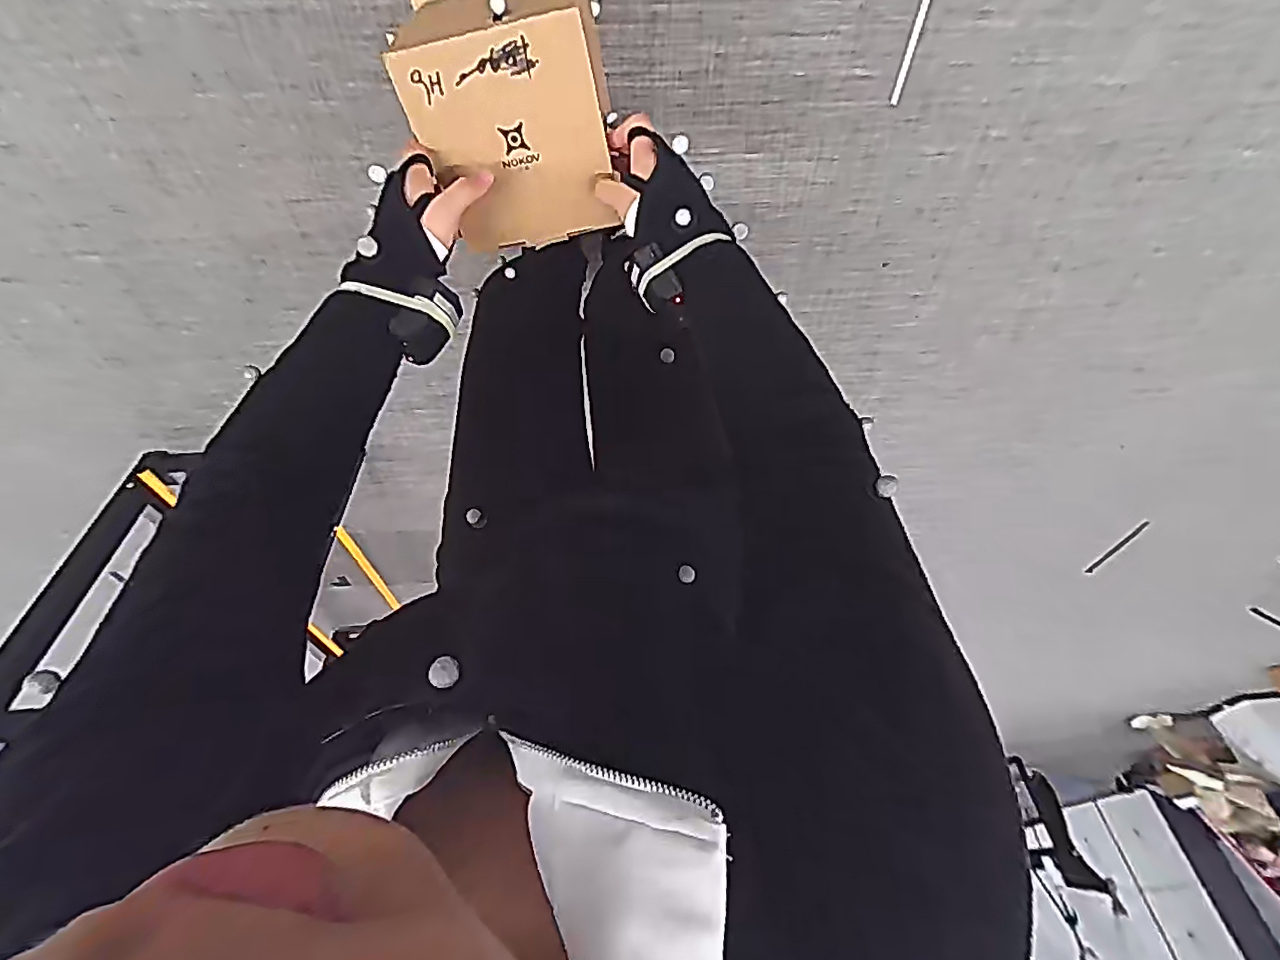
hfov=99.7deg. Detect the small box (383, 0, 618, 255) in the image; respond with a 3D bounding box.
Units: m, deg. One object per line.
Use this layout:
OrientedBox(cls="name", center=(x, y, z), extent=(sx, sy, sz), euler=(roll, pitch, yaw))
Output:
OrientedBox(cls="small box", center=(-0.115, -0.360, 0.538), extent=(0.168, 0.176, 0.179), euler=(-8, 142, 6))
